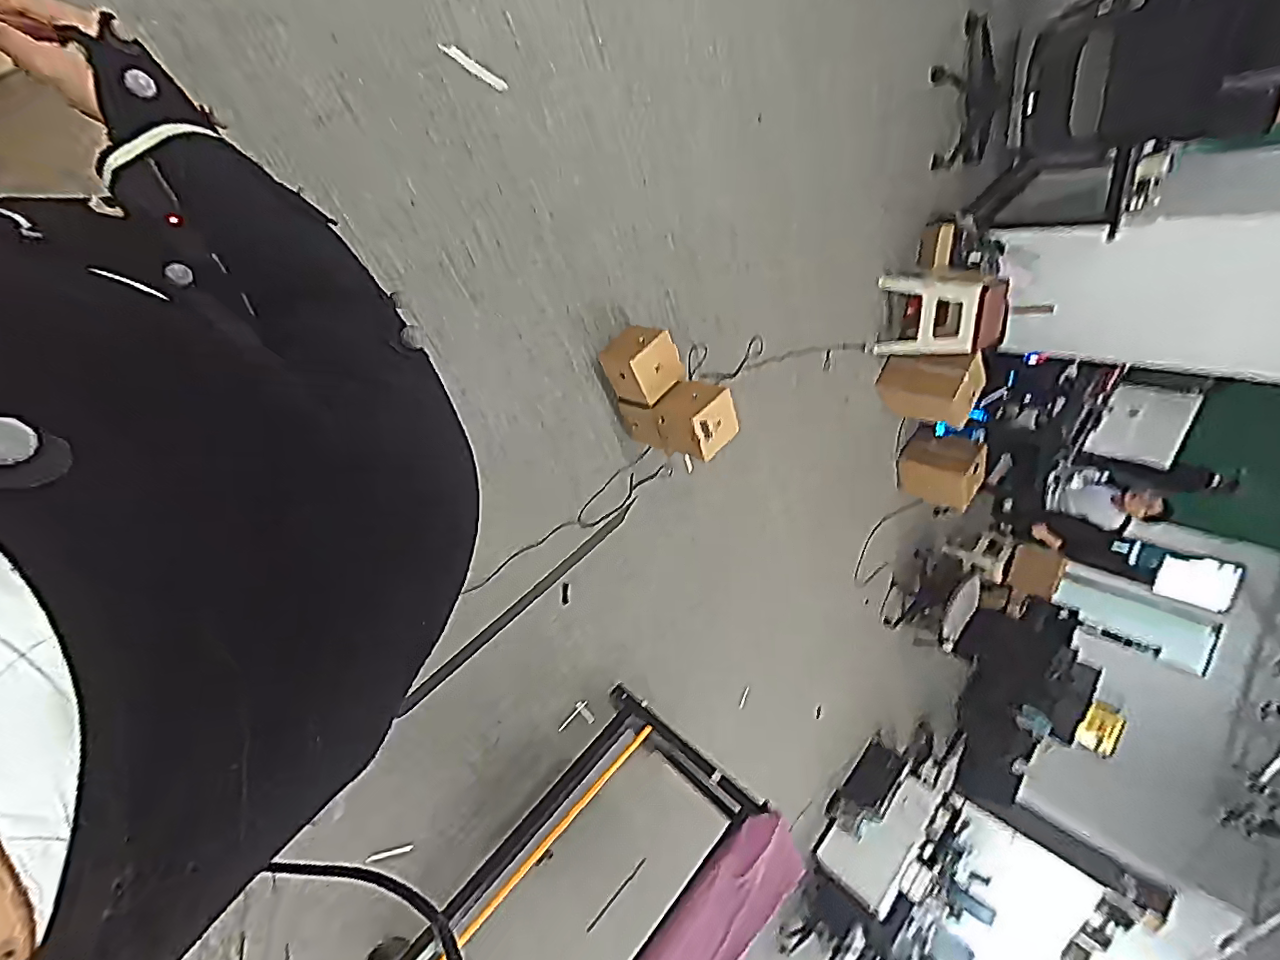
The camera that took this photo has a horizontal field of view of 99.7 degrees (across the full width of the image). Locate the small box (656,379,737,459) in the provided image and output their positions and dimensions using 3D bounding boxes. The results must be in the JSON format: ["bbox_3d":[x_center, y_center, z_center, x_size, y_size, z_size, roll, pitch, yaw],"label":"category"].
[{"bbox_3d":[0.170,-0.194,1.682,0.179,0.176,0.168,-42,131,-25],"label":"small box"}]
